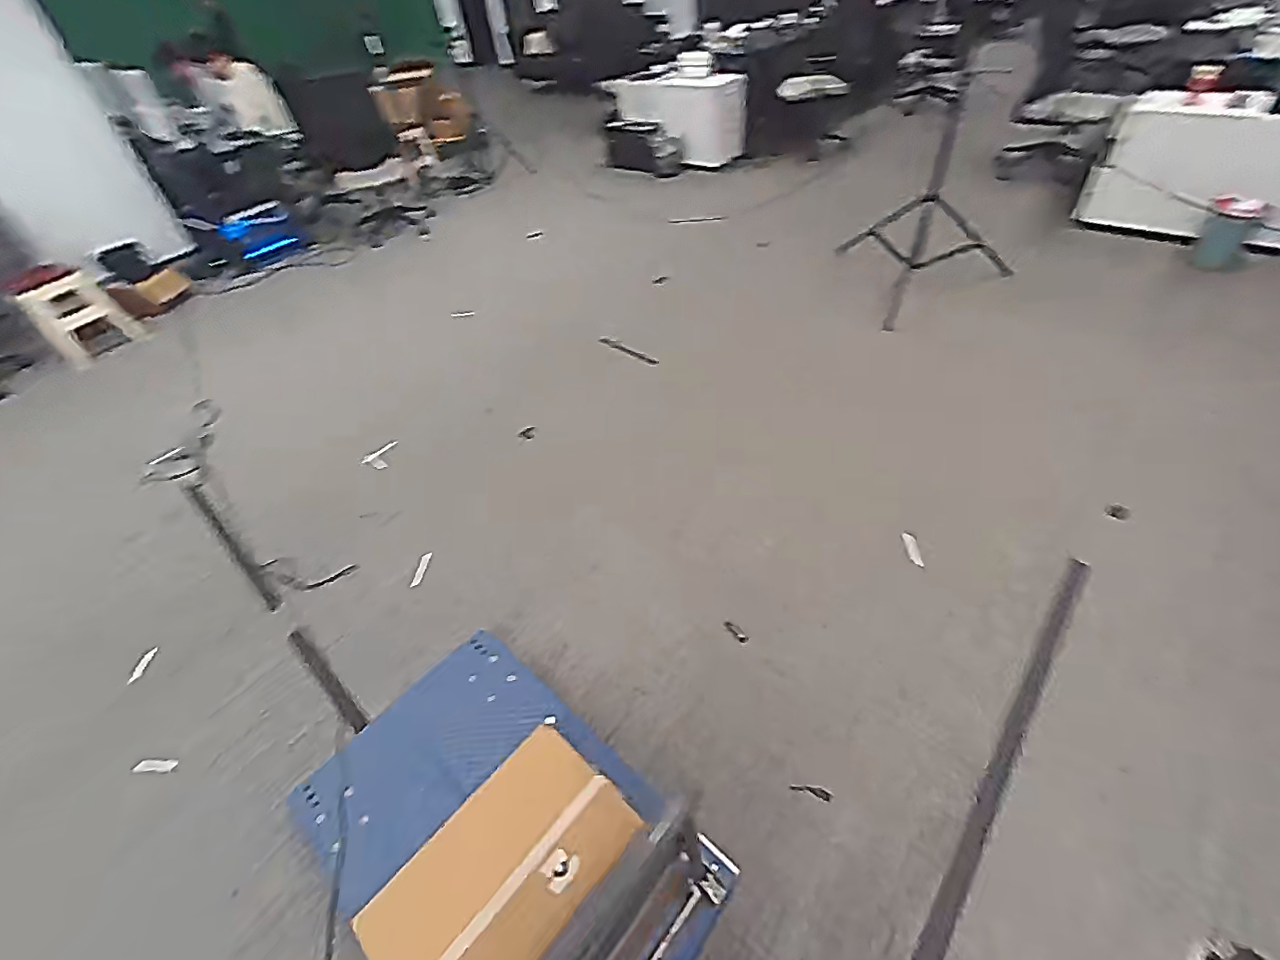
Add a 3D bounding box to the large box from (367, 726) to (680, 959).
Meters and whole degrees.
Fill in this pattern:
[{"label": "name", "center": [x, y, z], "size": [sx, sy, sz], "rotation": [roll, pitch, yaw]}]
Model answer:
[{"label": "large box", "center": [-0.174, 0.749, 0.960], "size": [0.320, 0.320, 0.408], "rotation": [31, 56, 32]}]
